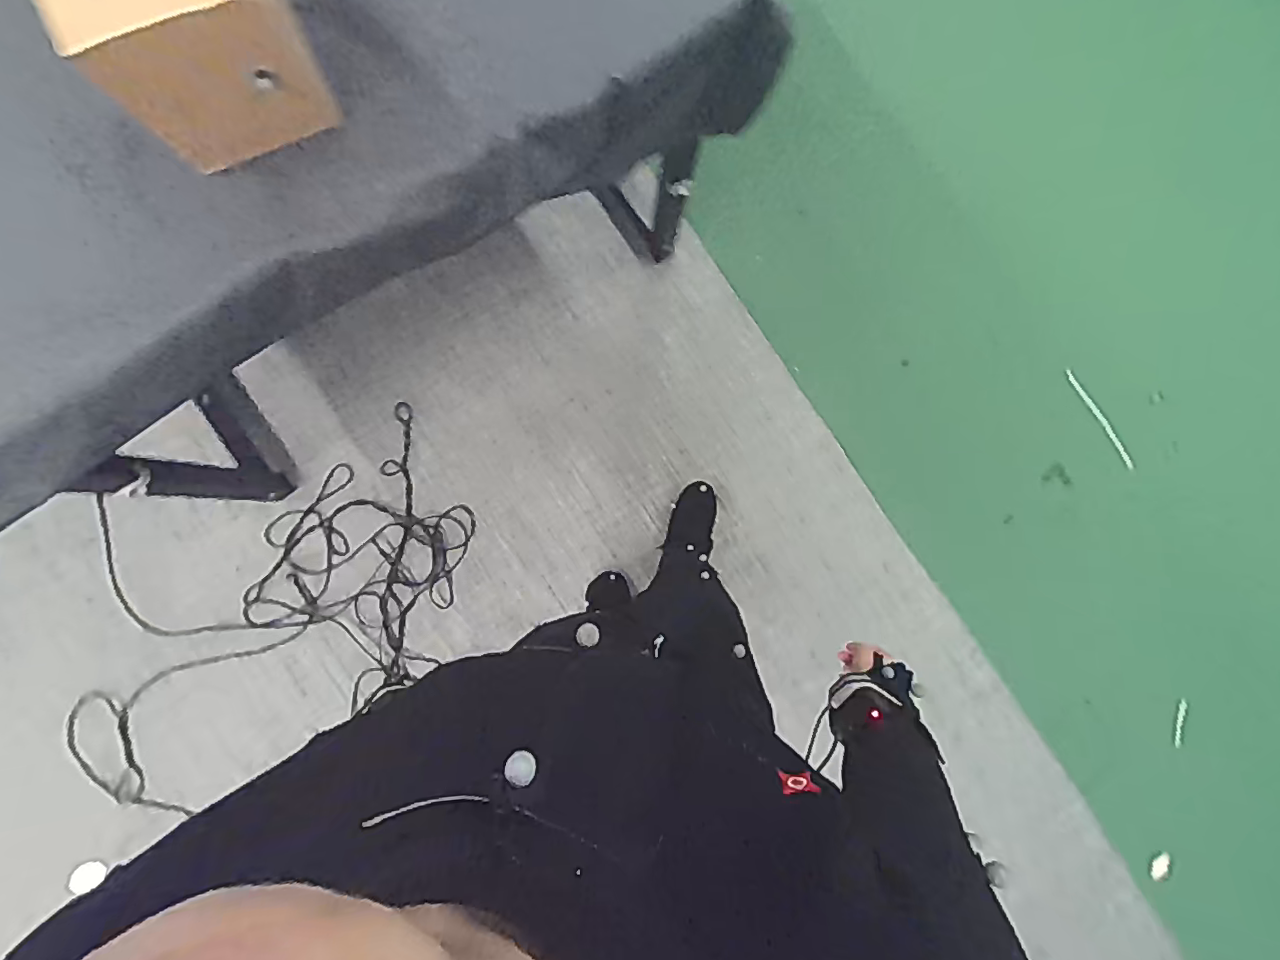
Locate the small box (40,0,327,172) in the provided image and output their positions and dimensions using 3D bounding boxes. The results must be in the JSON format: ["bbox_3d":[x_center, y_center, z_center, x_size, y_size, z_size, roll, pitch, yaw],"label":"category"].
[{"bbox_3d":[-0.465,-0.470,0.564,0.179,0.176,0.168,-26,87,-4],"label":"small box"}]
